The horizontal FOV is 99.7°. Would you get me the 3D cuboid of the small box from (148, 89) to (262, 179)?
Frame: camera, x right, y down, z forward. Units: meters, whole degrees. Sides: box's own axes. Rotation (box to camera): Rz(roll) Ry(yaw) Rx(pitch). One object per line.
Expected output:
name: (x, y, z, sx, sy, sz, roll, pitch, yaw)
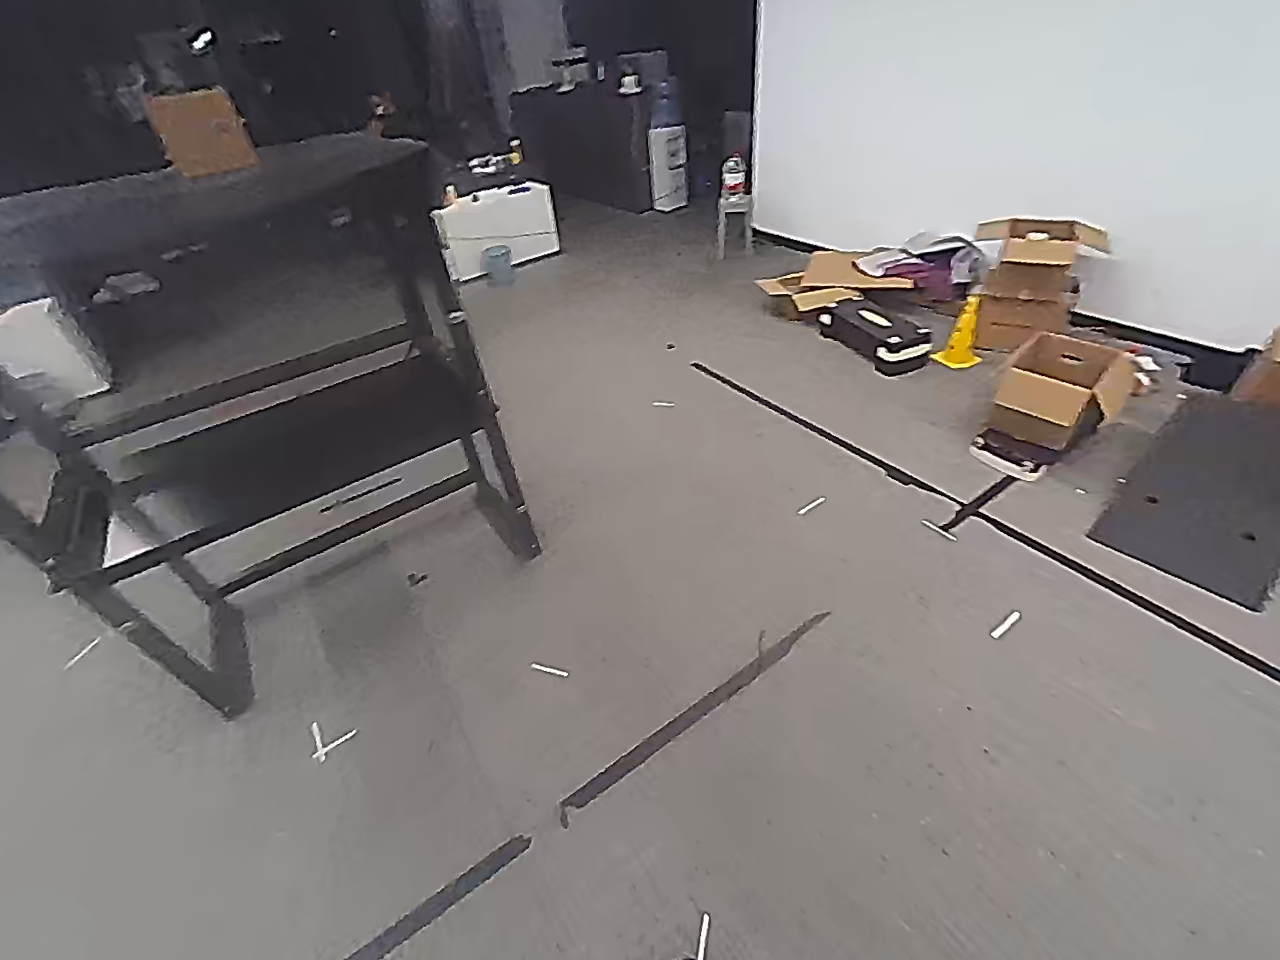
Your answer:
small box: (-1.099, -0.887, 1.383, 0.179, 0.176, 0.168, -26, 43, -21)
